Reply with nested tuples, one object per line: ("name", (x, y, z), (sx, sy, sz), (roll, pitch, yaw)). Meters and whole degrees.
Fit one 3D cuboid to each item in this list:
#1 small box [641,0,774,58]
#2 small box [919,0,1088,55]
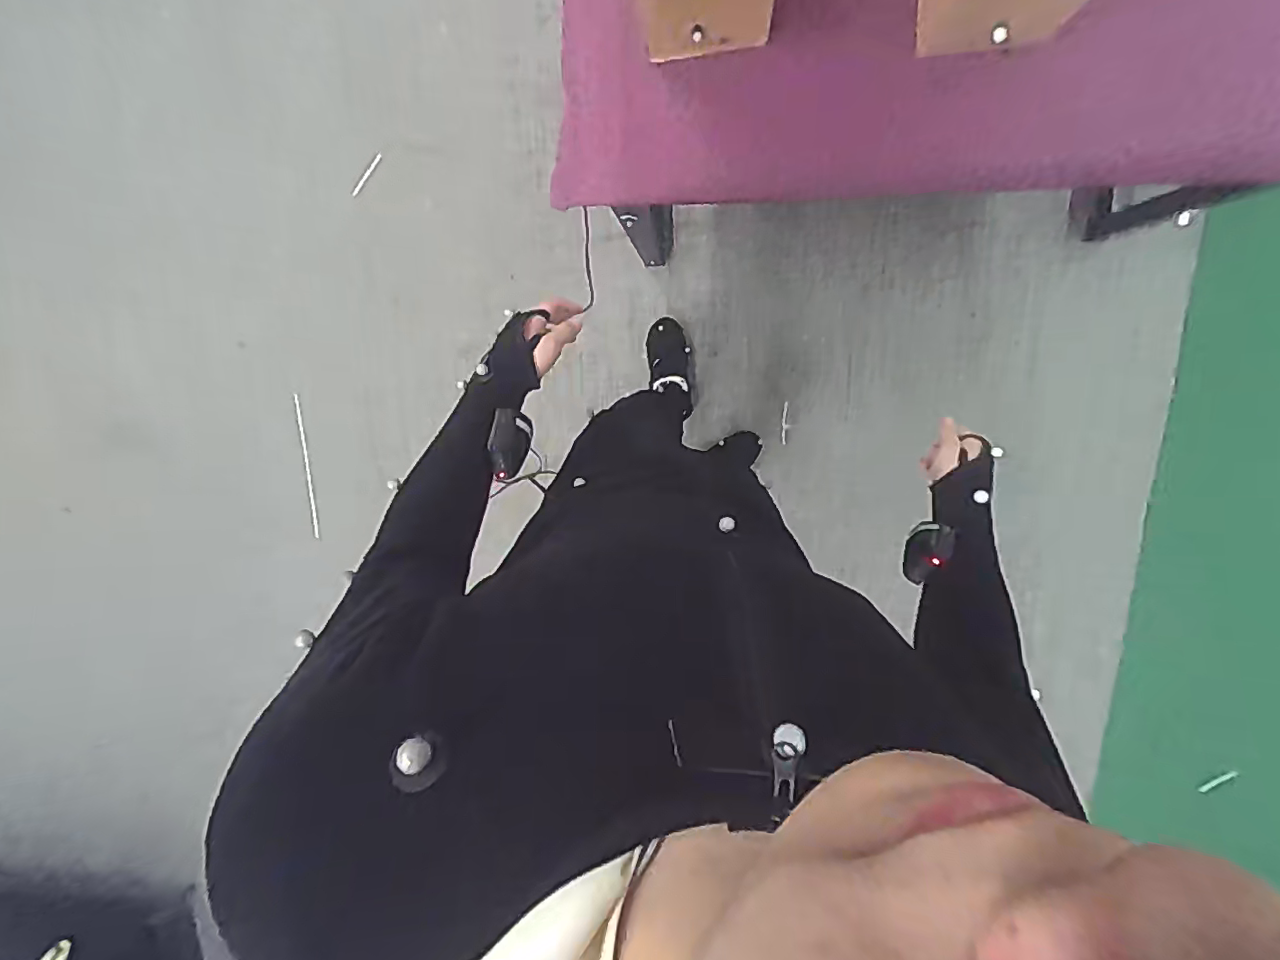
("small box", (0.078, -0.667, 0.660), (0.168, 0.176, 0.179), (-4, 102, 7))
("small box", (0.439, -0.638, 0.621), (0.168, 0.176, 0.179), (-1, 101, 8))
